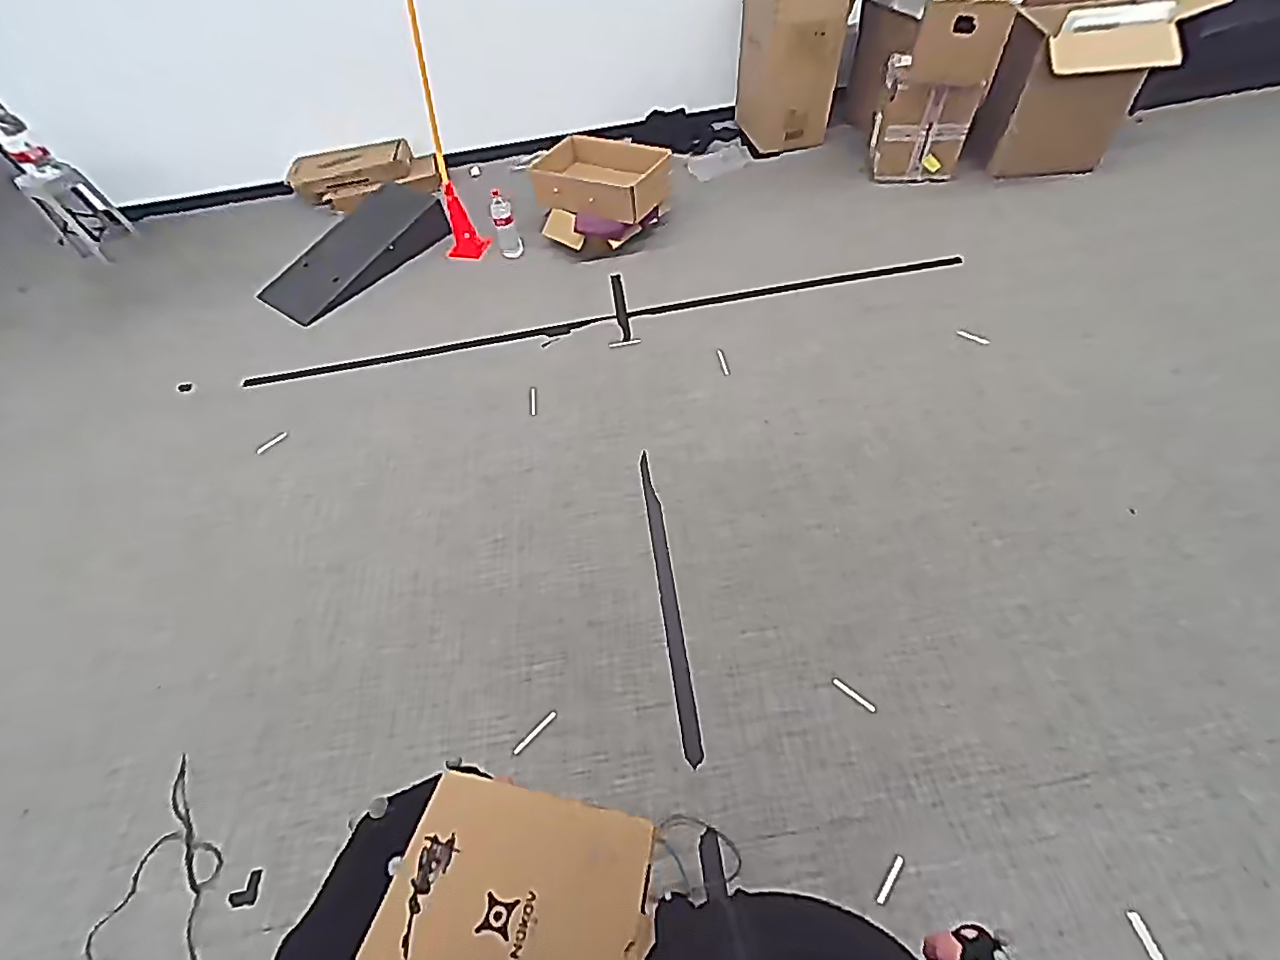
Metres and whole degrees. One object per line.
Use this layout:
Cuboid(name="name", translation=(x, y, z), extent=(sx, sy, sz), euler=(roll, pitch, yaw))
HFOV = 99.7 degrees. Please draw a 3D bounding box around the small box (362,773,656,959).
Cuboid(name="small box", translation=(-0.095, 0.364, 0.415), extent=(0.179, 0.176, 0.168), euler=(11, 37, 5))
